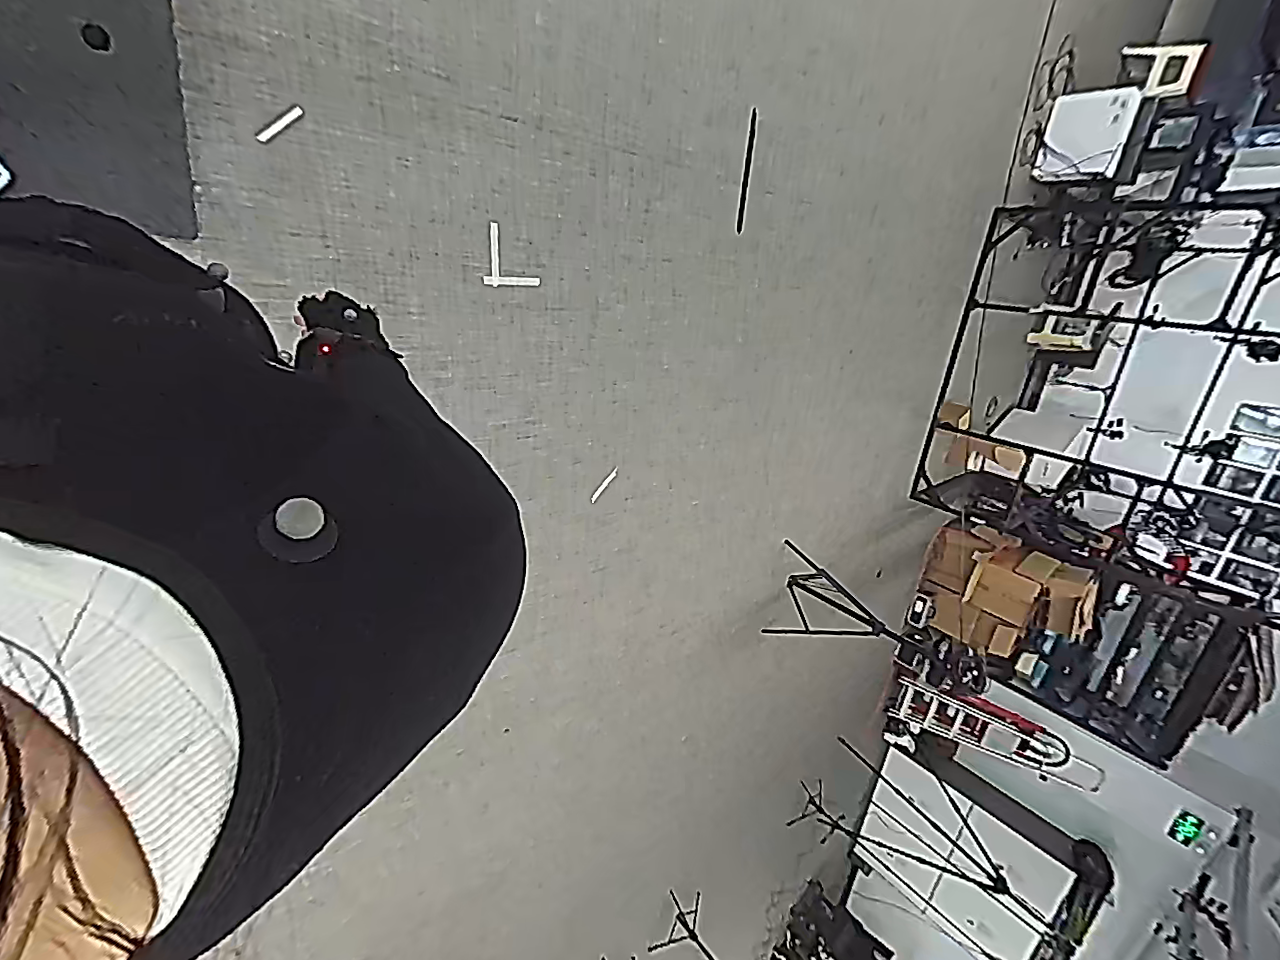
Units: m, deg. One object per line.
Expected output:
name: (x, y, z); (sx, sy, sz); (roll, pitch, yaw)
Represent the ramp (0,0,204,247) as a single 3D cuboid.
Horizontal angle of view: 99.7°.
ramp: (-0.947, -0.861, 0.708); (0.509, 0.206, 0.991); (-13, 117, -40)
